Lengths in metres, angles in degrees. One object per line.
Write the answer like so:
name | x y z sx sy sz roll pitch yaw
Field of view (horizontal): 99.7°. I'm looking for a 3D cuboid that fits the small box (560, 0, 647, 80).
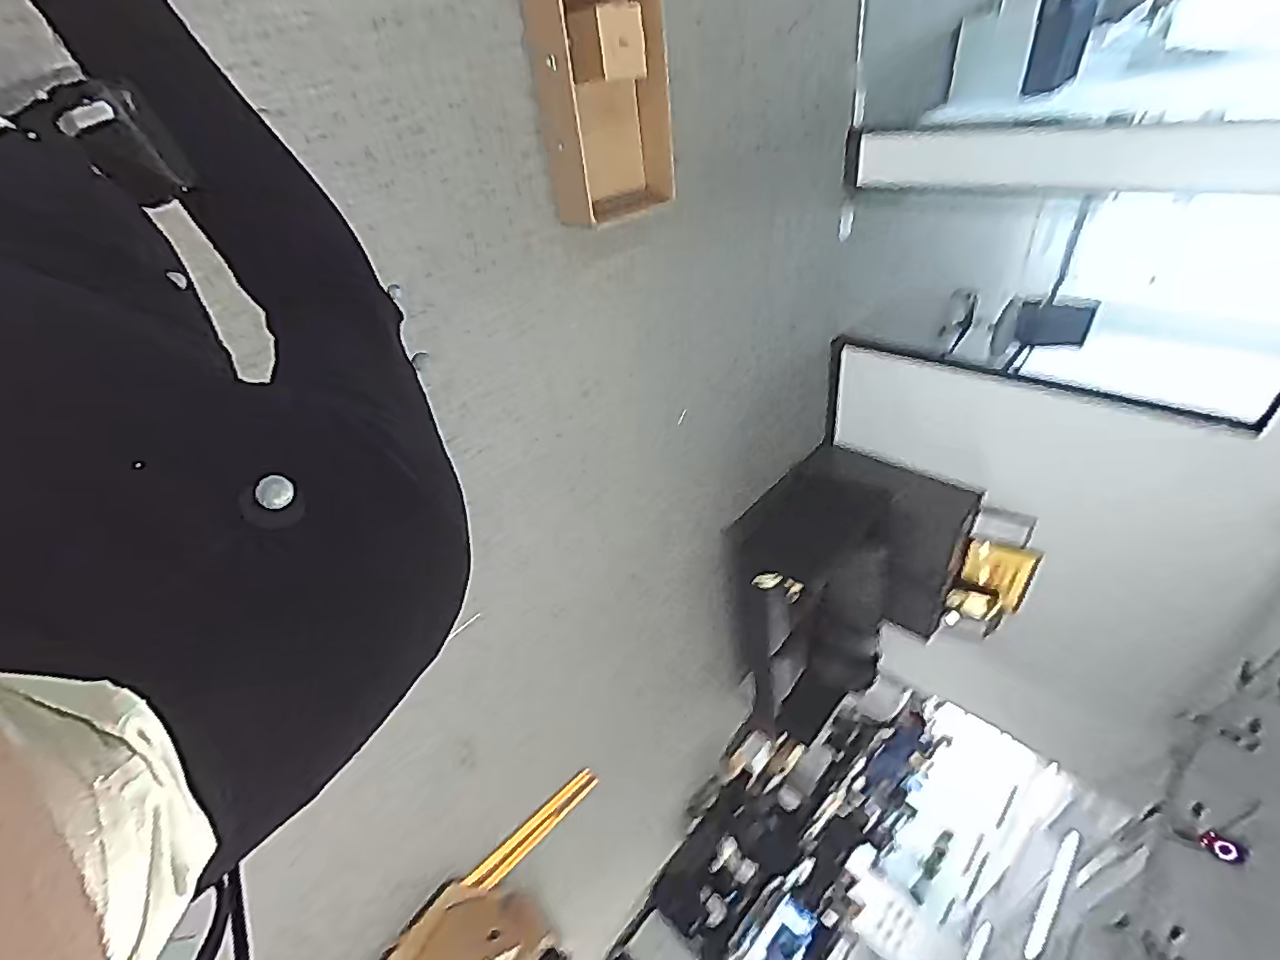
small box | -0.103 -1.272 1.564 0.179 0.176 0.168 -35 134 -32
